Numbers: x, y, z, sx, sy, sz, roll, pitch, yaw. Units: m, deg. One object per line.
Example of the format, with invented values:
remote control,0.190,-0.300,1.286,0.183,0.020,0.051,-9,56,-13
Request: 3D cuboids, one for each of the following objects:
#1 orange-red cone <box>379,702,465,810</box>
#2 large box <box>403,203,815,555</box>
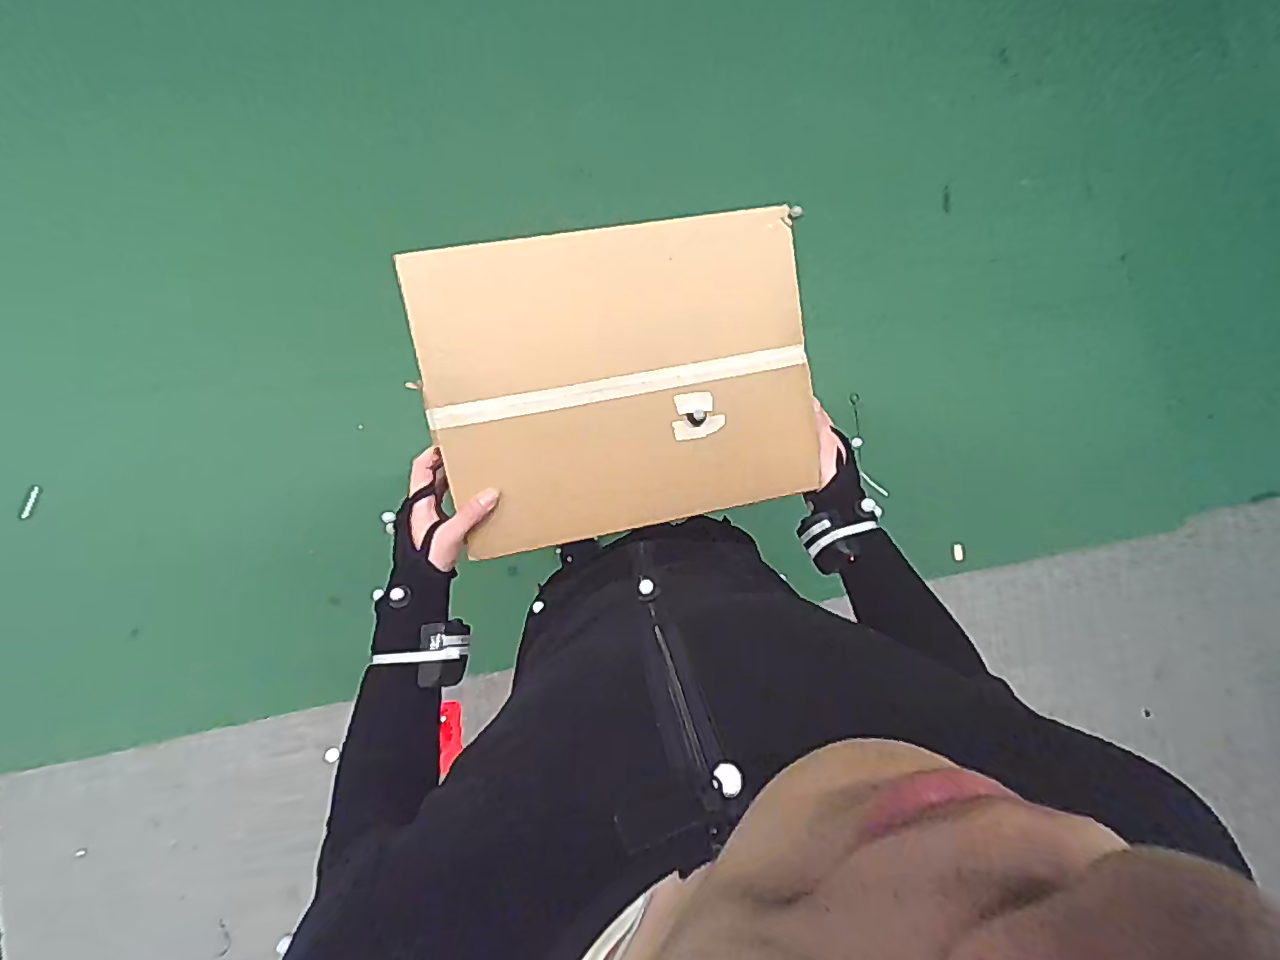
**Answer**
orange-red cone,-0.575,0.716,1.351,0.199,0.360,0.198,-2,86,-7
large box,-0.042,-0.128,0.723,0.408,0.320,0.320,-12,101,-9
